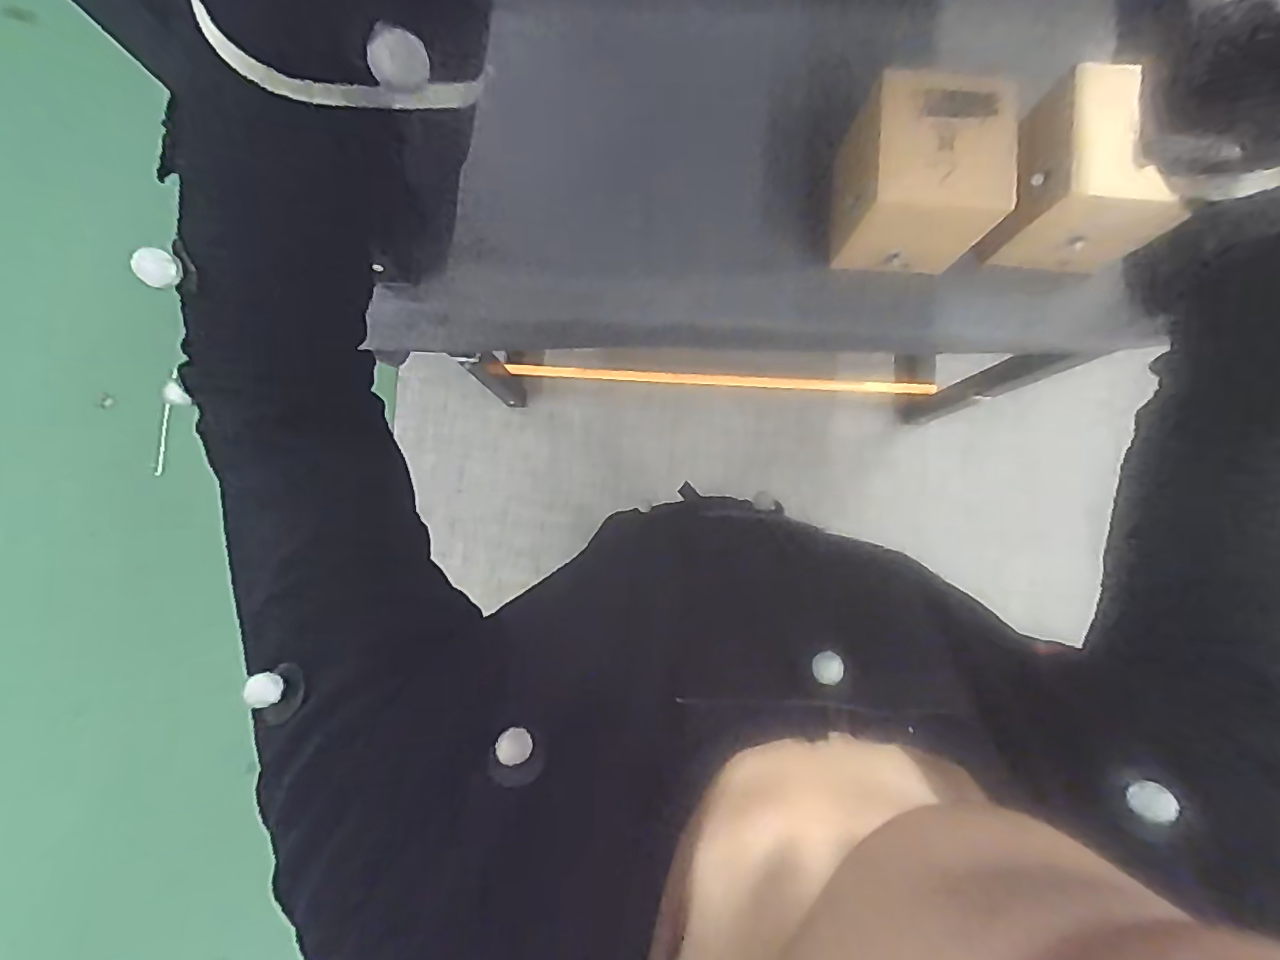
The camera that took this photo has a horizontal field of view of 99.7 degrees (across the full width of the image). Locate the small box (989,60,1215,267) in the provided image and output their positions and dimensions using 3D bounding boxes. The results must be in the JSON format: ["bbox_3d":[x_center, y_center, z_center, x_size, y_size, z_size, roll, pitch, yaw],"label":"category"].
[{"bbox_3d":[0.602,-0.409,0.725,0.168,0.176,0.179,6,84,1],"label":"small box"}]
